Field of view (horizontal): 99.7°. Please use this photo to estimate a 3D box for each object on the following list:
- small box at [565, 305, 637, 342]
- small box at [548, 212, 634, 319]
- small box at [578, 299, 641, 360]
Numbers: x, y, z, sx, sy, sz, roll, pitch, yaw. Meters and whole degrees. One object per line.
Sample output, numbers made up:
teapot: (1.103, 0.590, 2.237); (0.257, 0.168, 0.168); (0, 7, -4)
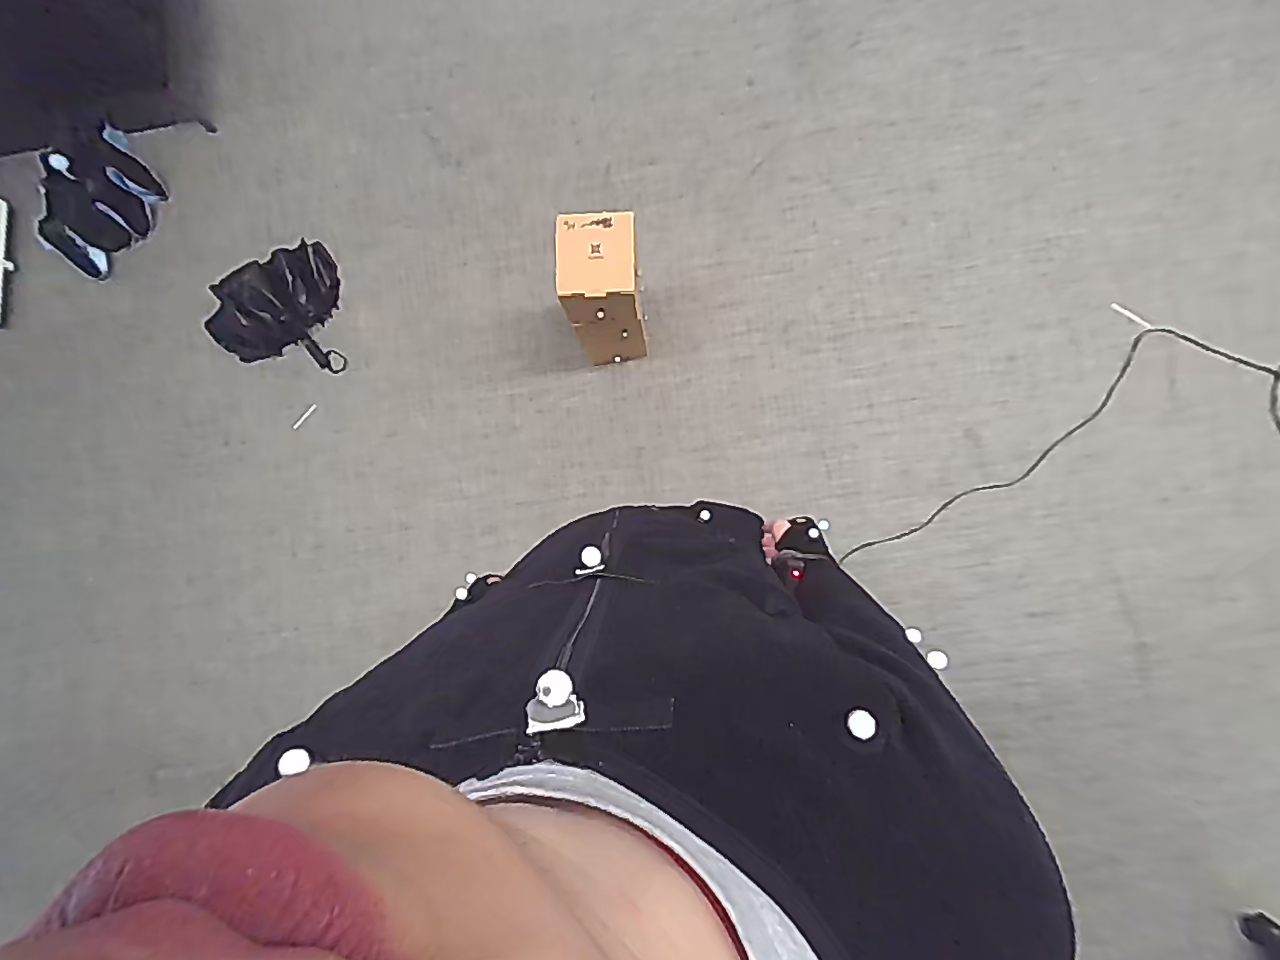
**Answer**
small box: (-0.100, -0.456, 1.352); (0.168, 0.176, 0.179); (-8, 86, 2)
small box: (-0.102, -0.461, 1.190); (0.168, 0.176, 0.179); (-1, 88, 4)
small box: (-0.091, -0.453, 1.514); (0.168, 0.176, 0.179); (-9, 88, 3)
